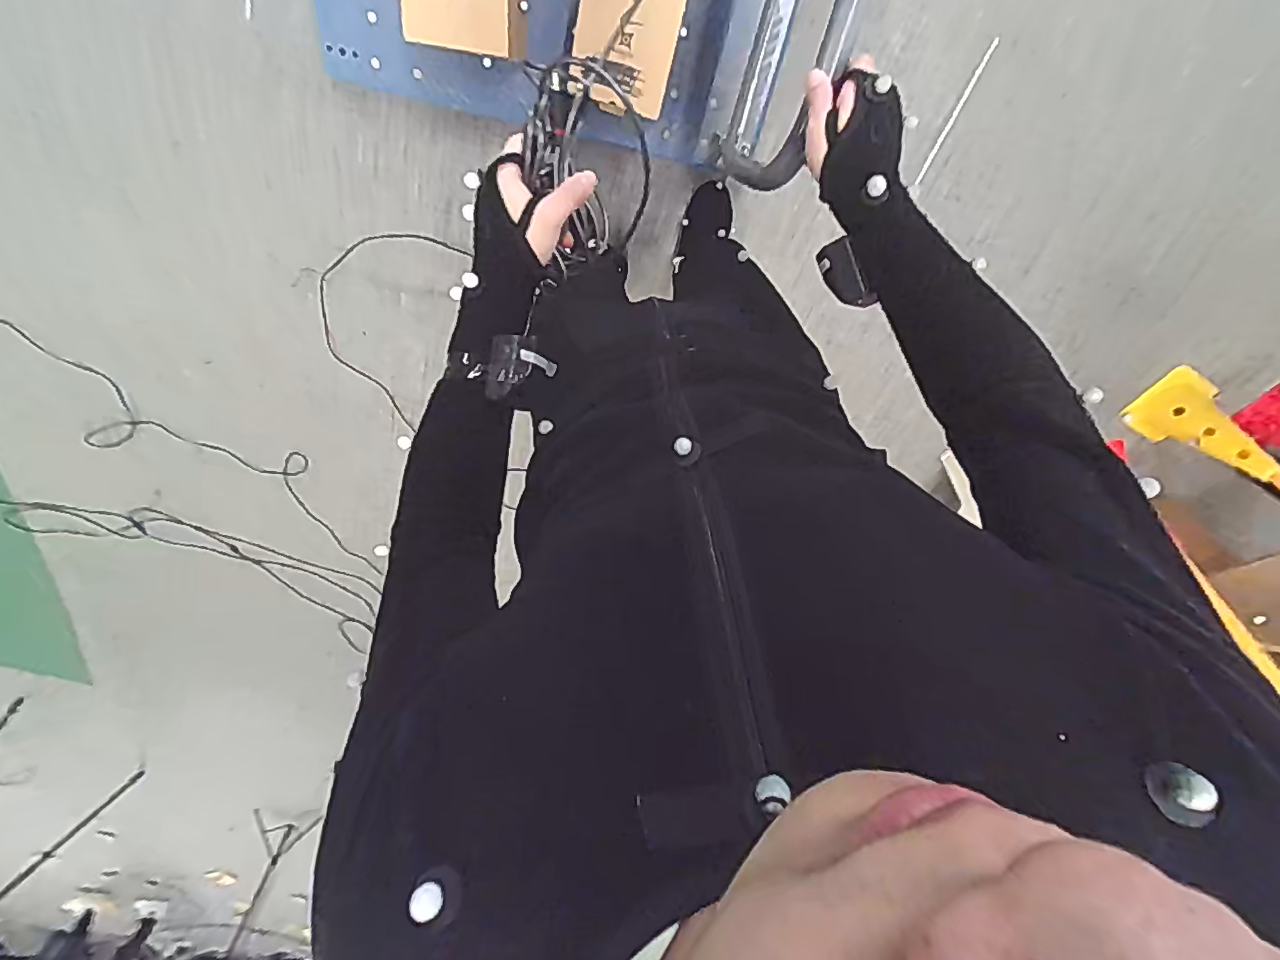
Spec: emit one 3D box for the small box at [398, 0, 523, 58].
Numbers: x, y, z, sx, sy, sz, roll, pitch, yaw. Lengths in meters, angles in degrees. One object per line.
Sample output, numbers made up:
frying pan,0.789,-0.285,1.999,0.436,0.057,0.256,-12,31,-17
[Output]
small box,-0.294,-0.830,0.912,0.179,0.176,0.168,8,125,-4
